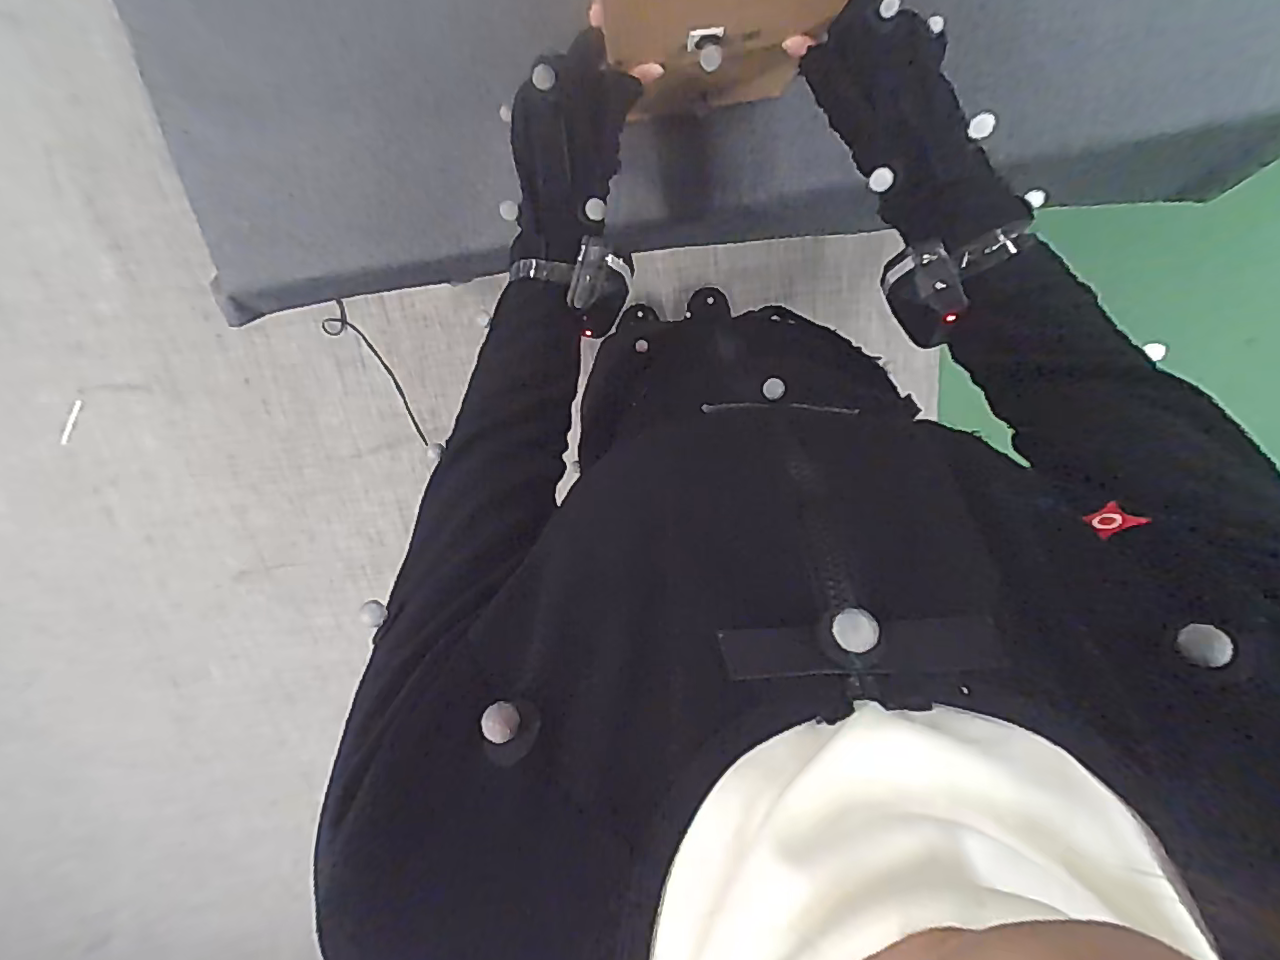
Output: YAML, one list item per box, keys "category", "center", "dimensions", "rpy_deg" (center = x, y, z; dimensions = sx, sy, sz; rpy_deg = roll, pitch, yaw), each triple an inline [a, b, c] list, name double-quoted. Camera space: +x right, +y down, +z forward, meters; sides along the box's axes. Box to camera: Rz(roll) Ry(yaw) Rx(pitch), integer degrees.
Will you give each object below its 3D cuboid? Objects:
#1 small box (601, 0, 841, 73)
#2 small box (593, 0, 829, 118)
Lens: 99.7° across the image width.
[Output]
- category: "small box"
  center: [0.045, -0.379, 0.310]
  dimensions: [0.168, 0.176, 0.179]
  rpy_deg: [-10, 109, 5]
- category: "small box"
  center: [0.046, -0.438, 0.461]
  dimensions: [0.179, 0.176, 0.168]
  rpy_deg: [-9, 108, 2]
